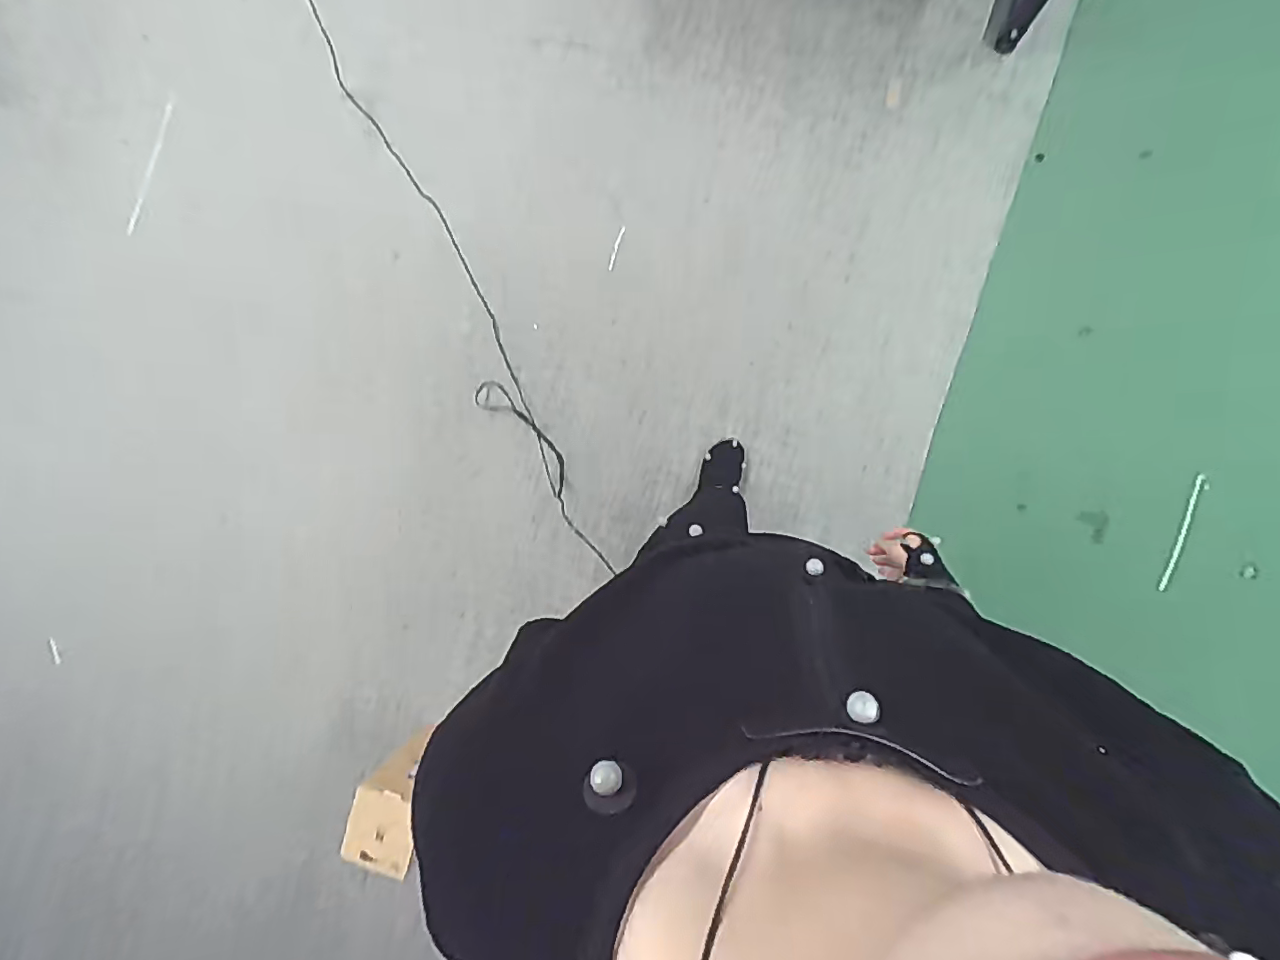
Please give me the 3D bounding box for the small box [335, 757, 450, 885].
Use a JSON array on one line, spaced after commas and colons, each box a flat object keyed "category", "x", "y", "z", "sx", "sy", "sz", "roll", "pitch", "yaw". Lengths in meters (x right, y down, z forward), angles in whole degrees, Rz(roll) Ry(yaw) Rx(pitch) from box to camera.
[{"category": "small box", "x": -0.580, "y": 0.801, "z": 1.292, "sx": 0.168, "sy": 0.176, "sz": 0.179, "roll": 16, "pitch": 89, "yaw": 6}]
